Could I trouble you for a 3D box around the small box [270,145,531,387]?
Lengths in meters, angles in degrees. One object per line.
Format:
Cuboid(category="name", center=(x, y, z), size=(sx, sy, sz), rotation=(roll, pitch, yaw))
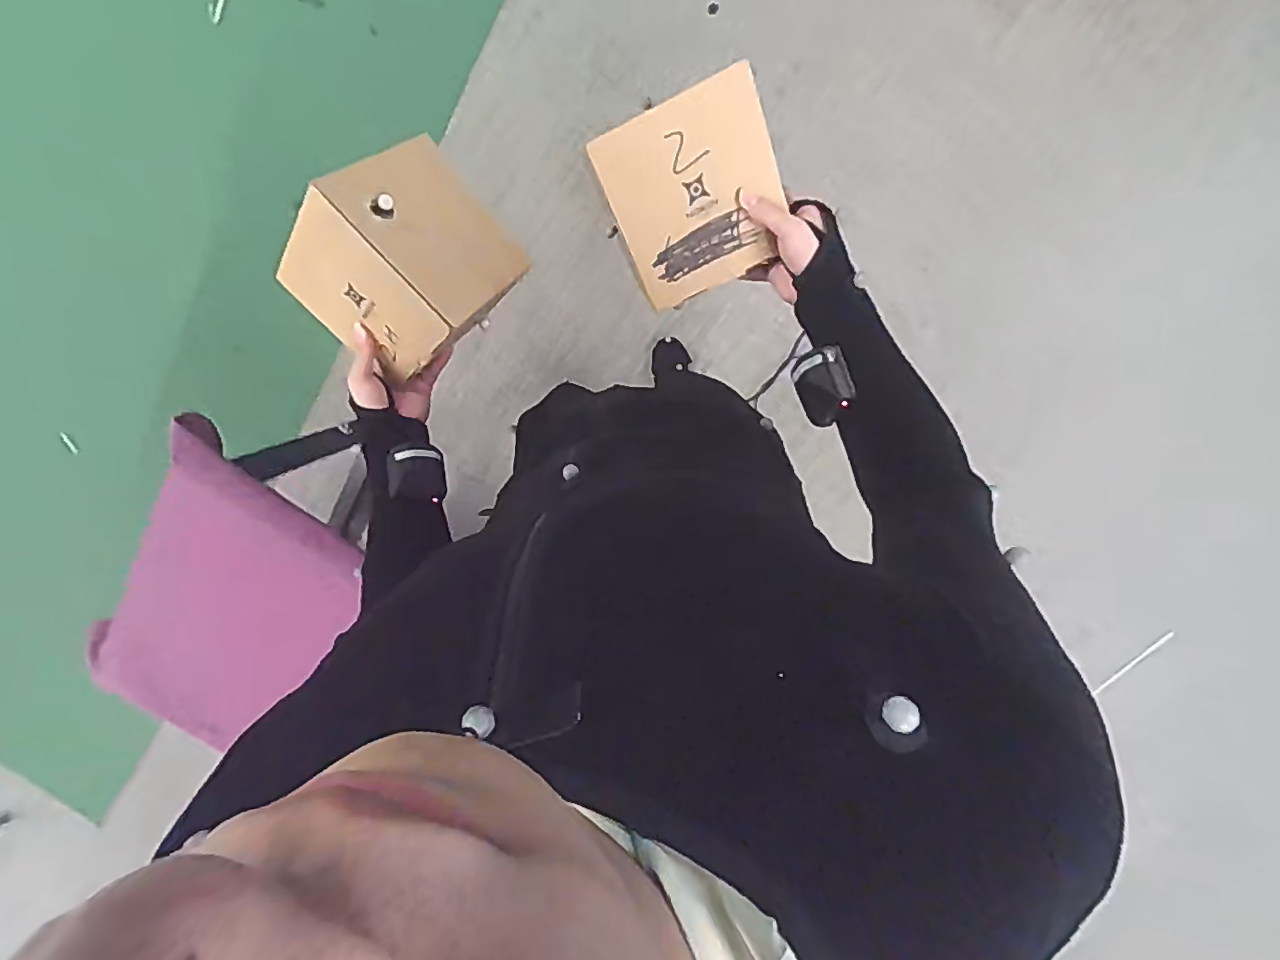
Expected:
Cuboid(category="small box", center=(-0.262, -0.244, 0.613), size=(0.168, 0.176, 0.179), rotation=(-20, 120, 43))
